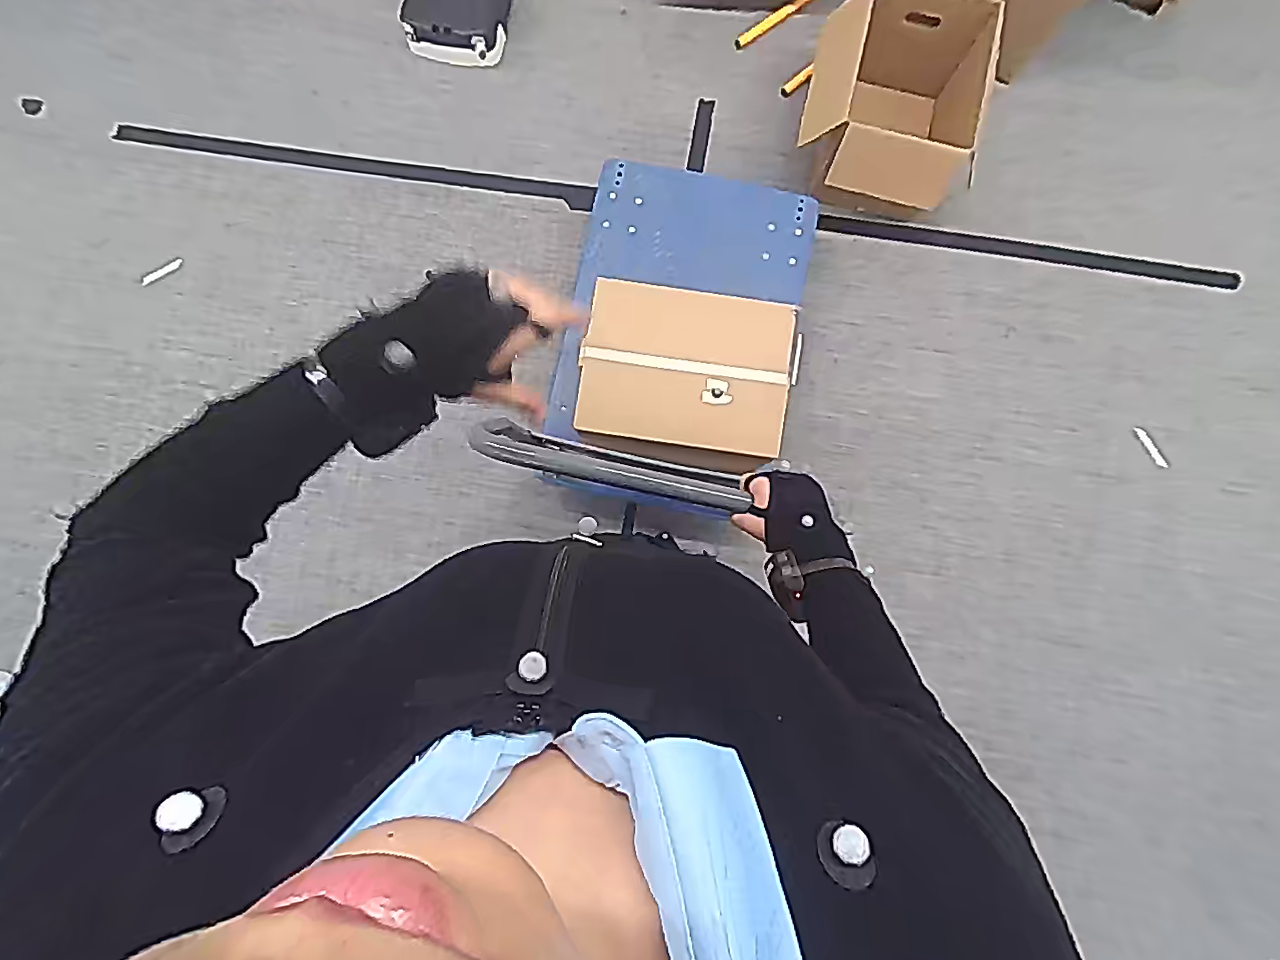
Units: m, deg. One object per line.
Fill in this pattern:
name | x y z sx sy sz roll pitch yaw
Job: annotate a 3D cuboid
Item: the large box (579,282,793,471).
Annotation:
large box | 0.090 -0.210 1.221 0.408 0.320 0.320 8 85 0
